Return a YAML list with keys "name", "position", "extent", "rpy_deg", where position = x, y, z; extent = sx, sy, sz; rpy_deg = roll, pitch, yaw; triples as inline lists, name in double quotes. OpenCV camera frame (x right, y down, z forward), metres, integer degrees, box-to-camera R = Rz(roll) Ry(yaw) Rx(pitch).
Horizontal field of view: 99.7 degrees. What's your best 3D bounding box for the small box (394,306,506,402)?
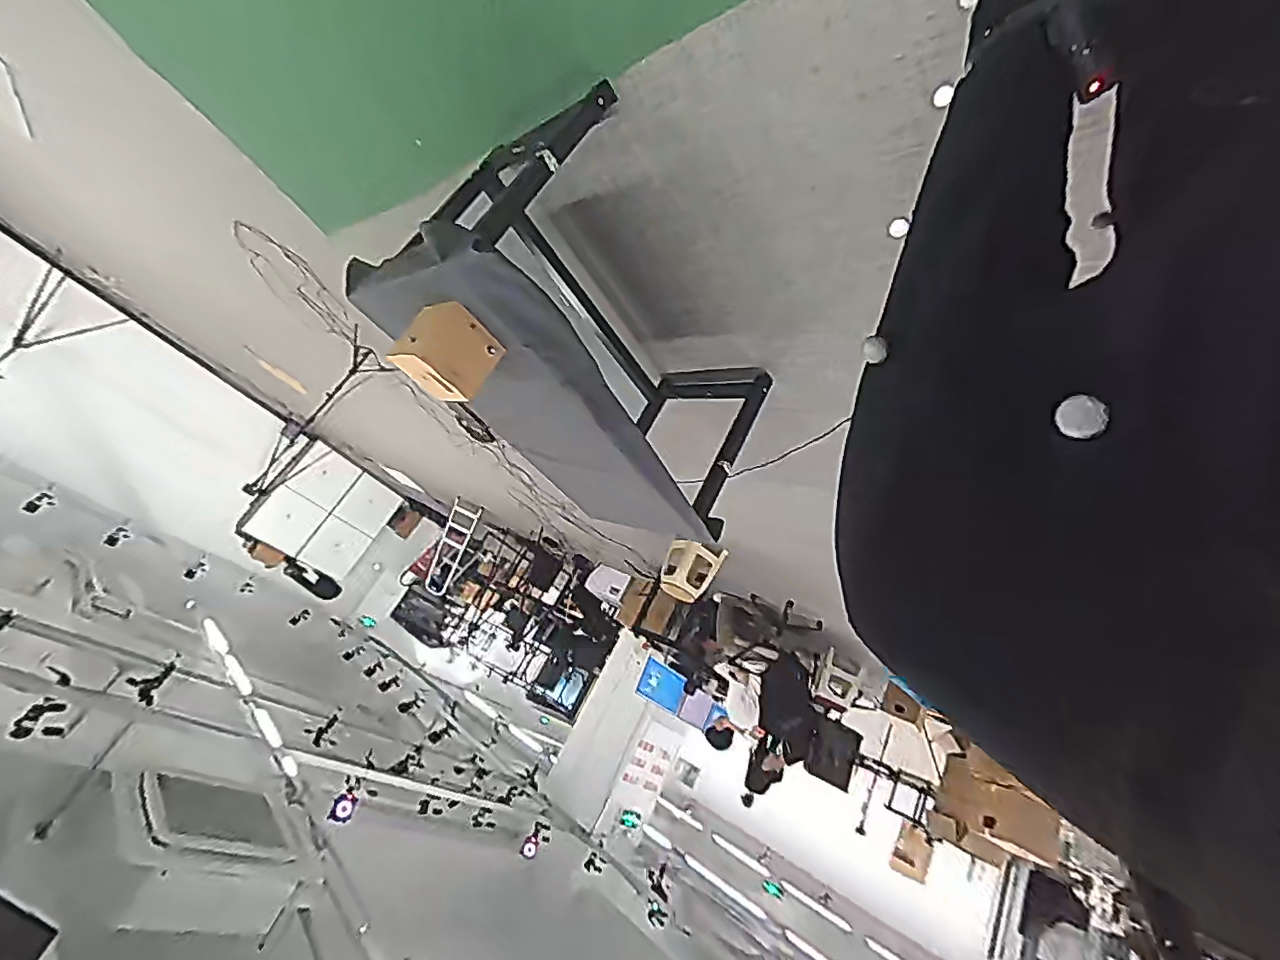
- name: "small box"
  position: [-0.460, -0.311, 1.333]
  extent: [0.179, 0.176, 0.168]
  rpy_deg: [11, 153, 44]
